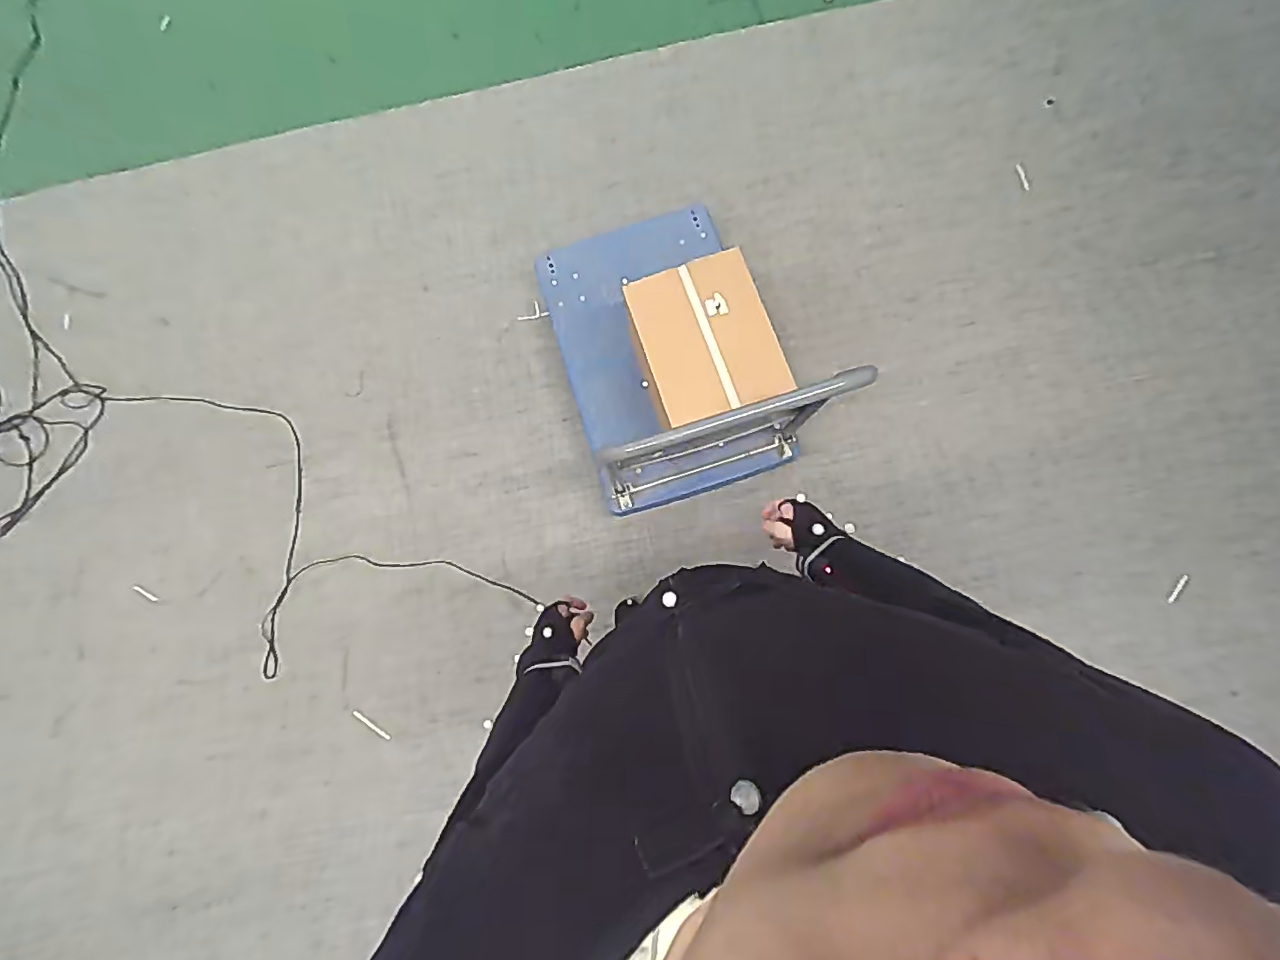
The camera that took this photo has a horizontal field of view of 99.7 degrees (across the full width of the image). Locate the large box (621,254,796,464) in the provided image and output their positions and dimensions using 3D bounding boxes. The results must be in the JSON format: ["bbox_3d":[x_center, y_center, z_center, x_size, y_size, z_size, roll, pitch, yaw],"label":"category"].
[{"bbox_3d":[0.170,-0.304,1.446,0.320,0.320,0.408,-18,77,-2],"label":"large box"}]
